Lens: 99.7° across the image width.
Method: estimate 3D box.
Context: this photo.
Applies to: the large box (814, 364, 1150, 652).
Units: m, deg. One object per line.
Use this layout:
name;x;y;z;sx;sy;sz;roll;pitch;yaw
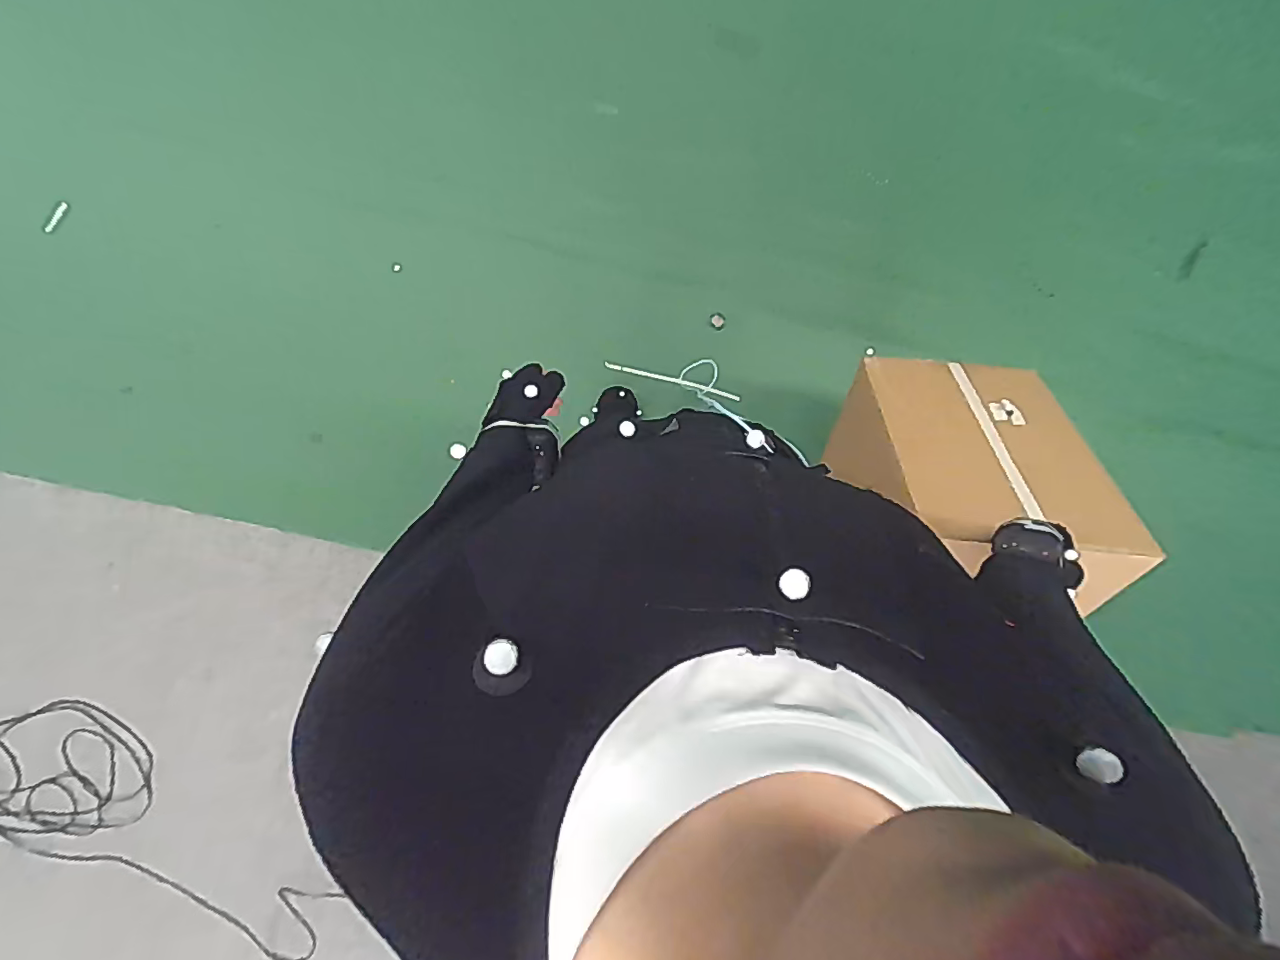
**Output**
large box;0.529;0.047;0.956;0.320;0.408;0.320;6;137;0
